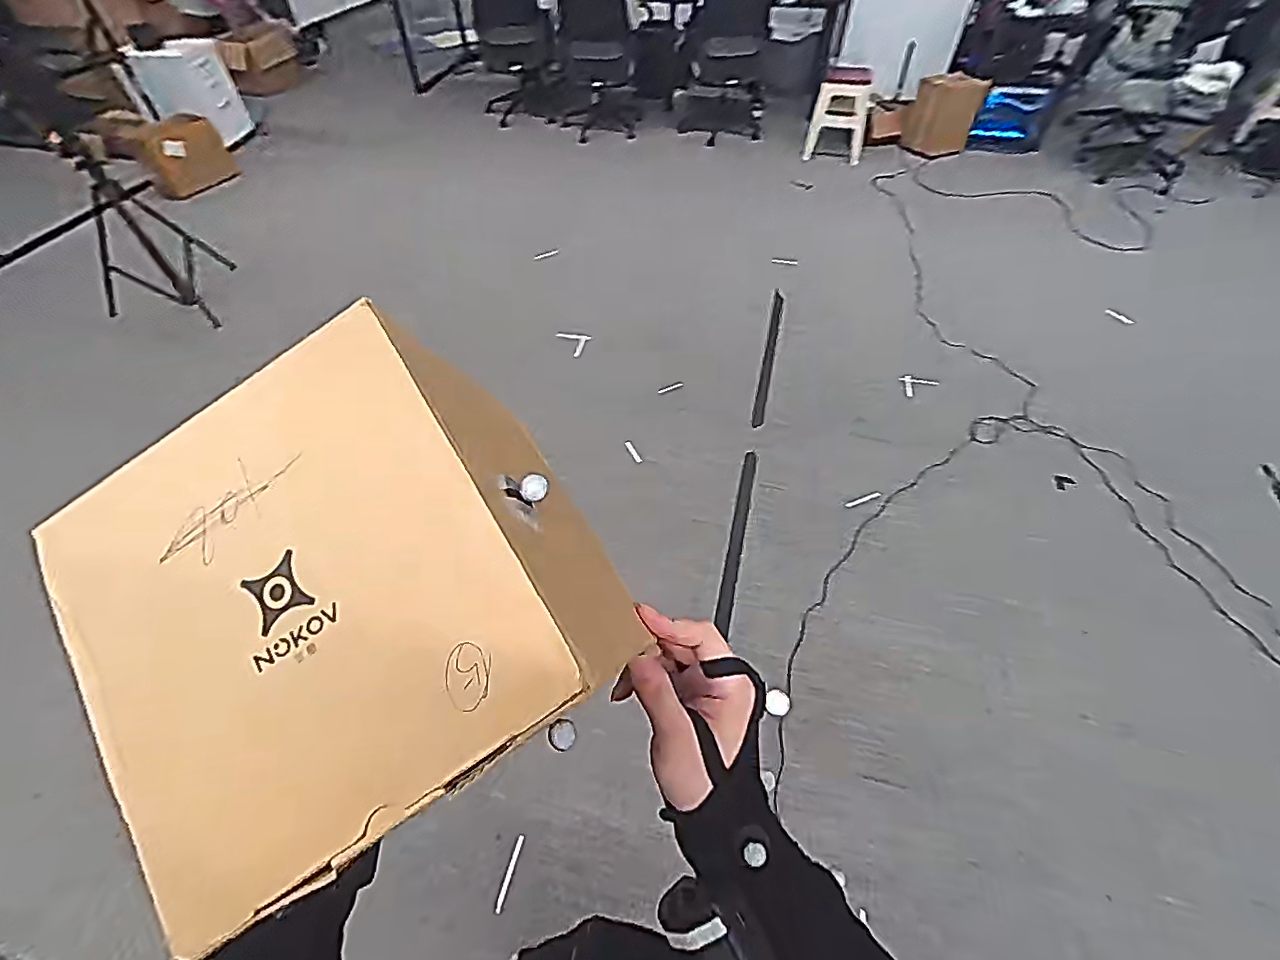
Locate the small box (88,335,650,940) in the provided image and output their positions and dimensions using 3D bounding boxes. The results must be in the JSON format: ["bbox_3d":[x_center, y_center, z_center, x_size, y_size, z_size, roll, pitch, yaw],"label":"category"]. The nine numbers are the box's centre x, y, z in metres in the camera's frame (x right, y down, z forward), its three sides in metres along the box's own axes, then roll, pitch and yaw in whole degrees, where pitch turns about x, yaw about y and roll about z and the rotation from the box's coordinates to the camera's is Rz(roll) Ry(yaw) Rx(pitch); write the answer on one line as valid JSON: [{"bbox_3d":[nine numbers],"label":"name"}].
[{"bbox_3d":[-0.111,0.066,0.286,0.168,0.176,0.179,-35,75,1],"label":"small box"}]
